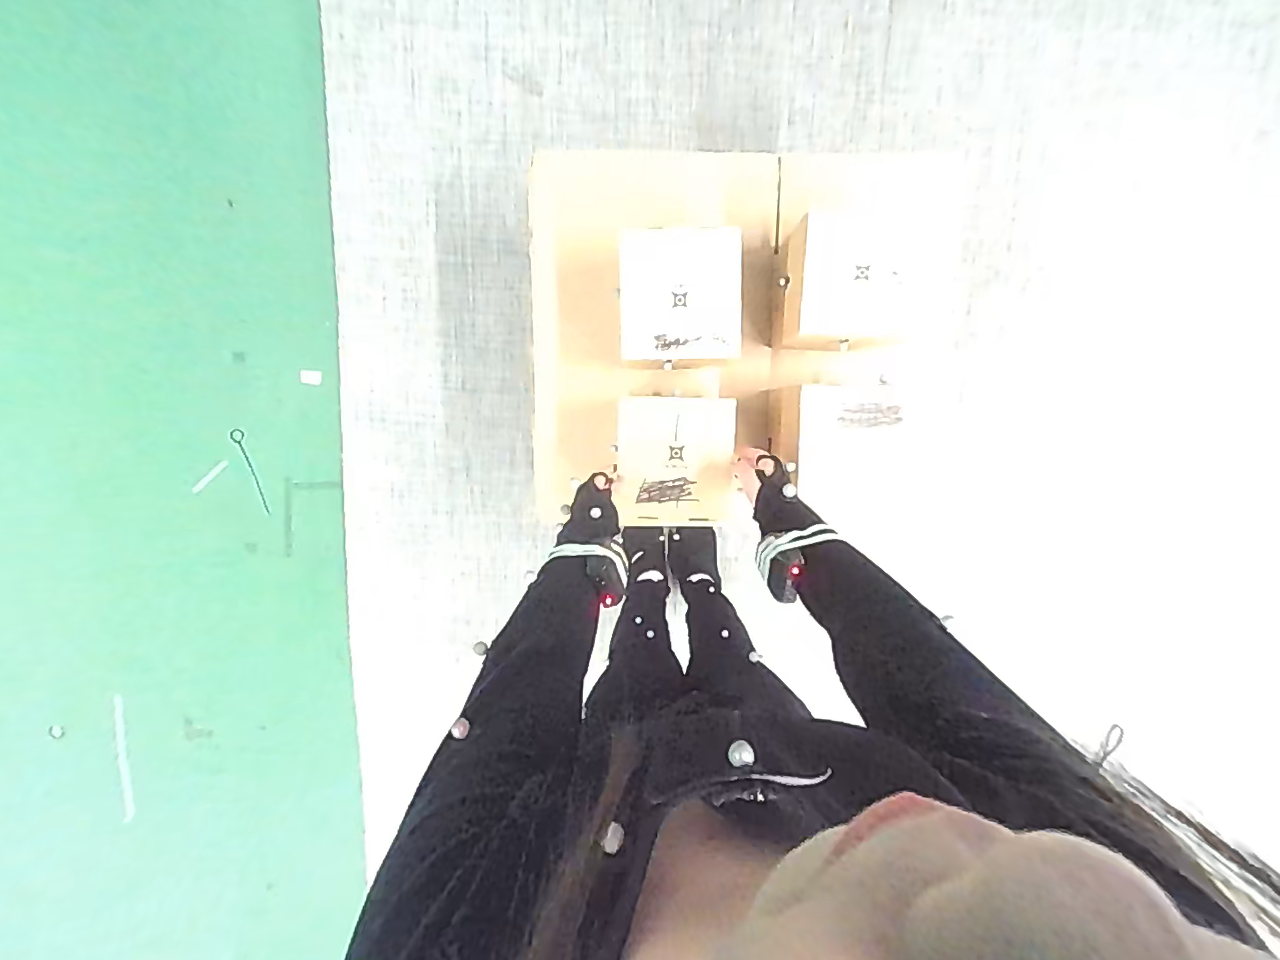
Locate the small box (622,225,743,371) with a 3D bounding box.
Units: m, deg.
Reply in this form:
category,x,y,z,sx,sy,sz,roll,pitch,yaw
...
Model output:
category,x,y,z,sx,sy,sz,roll,pitch,yaw
small box,0.058,-0.260,0.808,0.168,0.176,0.179,-1,96,2
